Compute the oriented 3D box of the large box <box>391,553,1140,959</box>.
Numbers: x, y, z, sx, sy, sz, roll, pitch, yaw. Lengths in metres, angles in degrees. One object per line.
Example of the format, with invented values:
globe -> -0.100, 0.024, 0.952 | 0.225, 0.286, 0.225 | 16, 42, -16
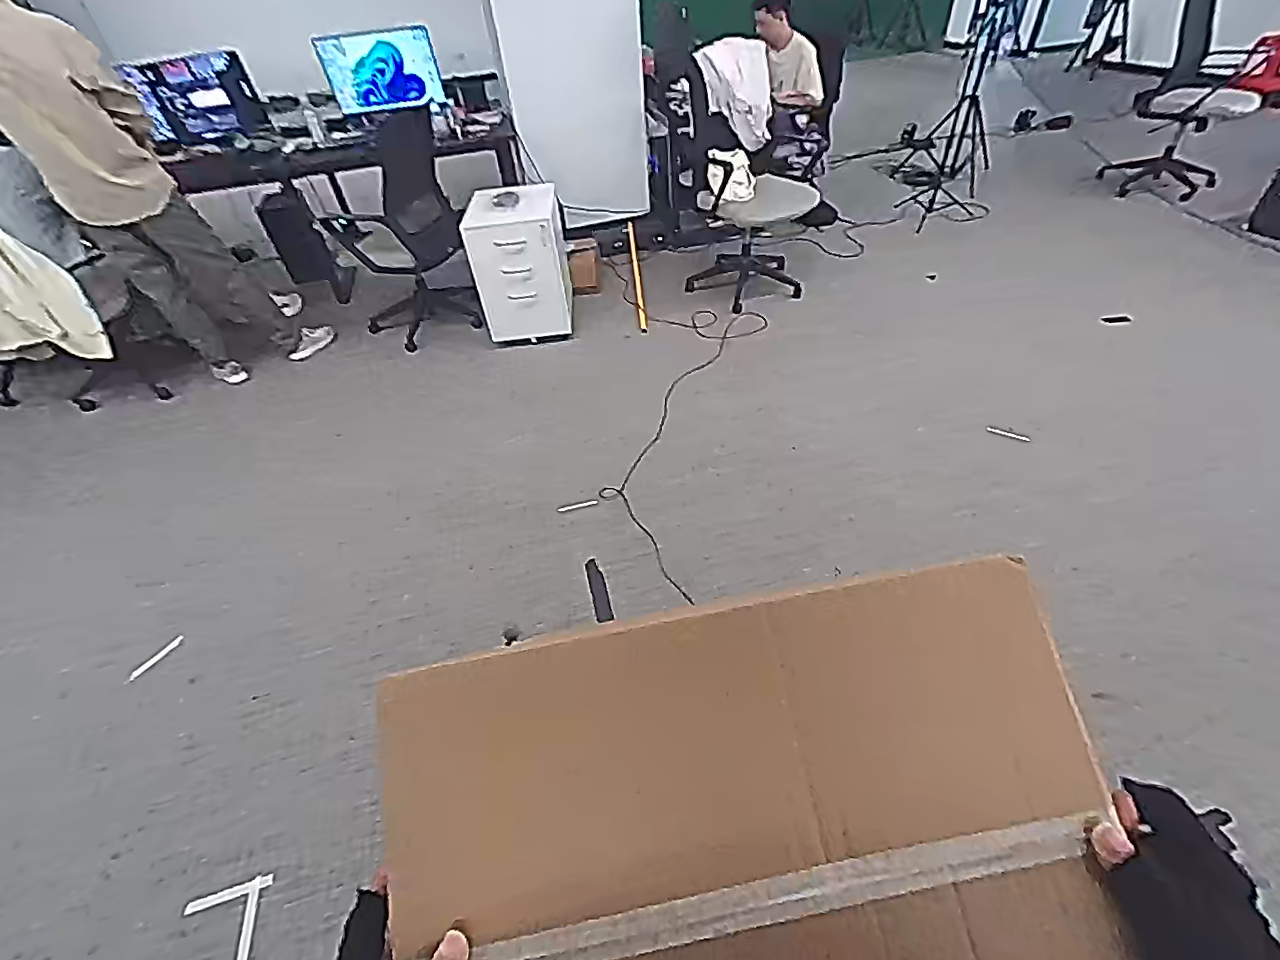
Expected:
large box -> 0.068, 0.267, 0.455 | 0.408, 0.320, 0.320 | -11, 78, -2
